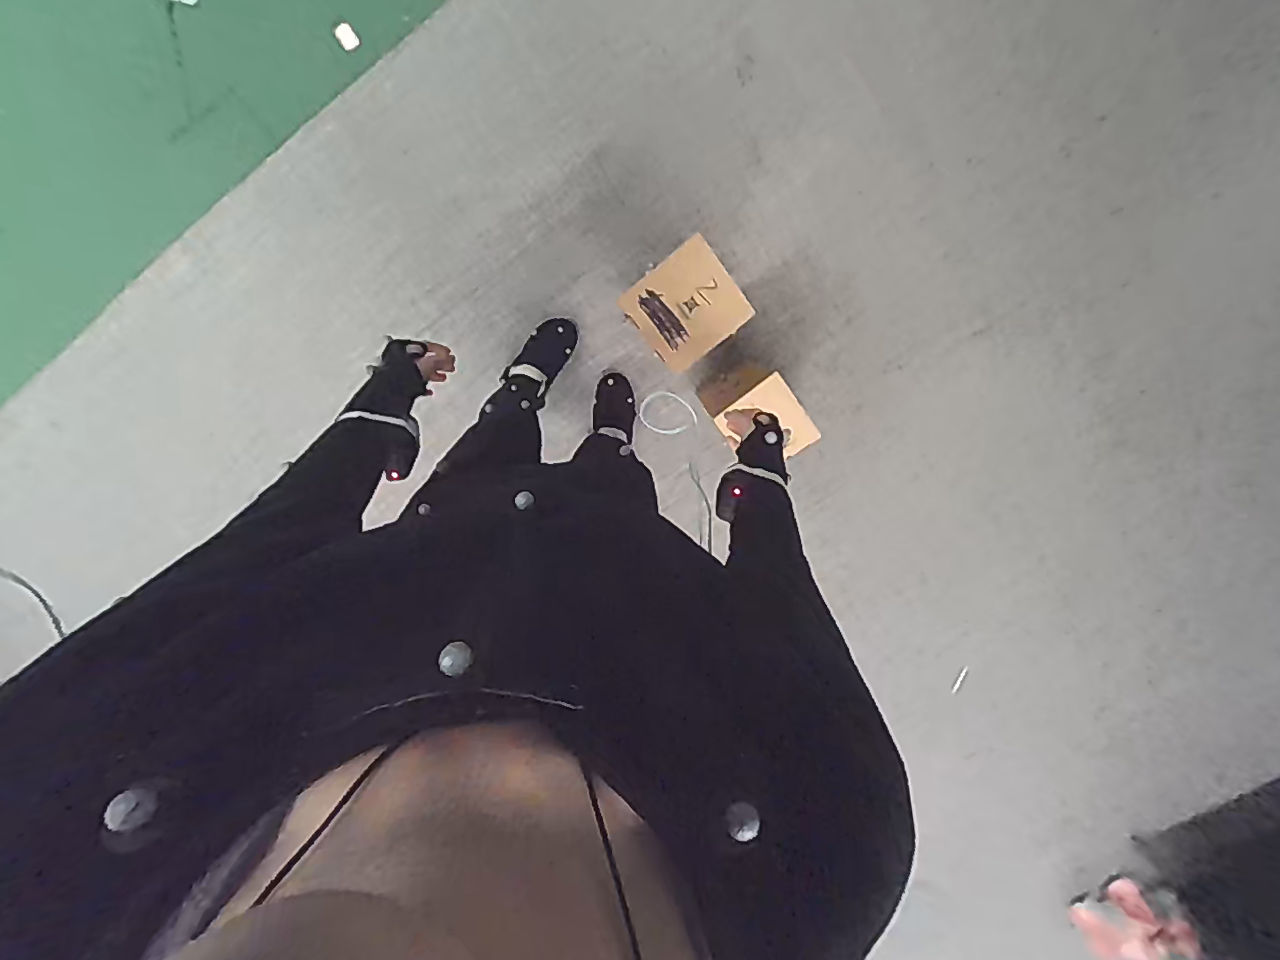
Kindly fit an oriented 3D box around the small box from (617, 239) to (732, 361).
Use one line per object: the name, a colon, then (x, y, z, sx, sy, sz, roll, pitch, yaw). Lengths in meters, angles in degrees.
small box: (0.070, -0.377, 1.144, 0.168, 0.176, 0.179, -37, 103, 10)
